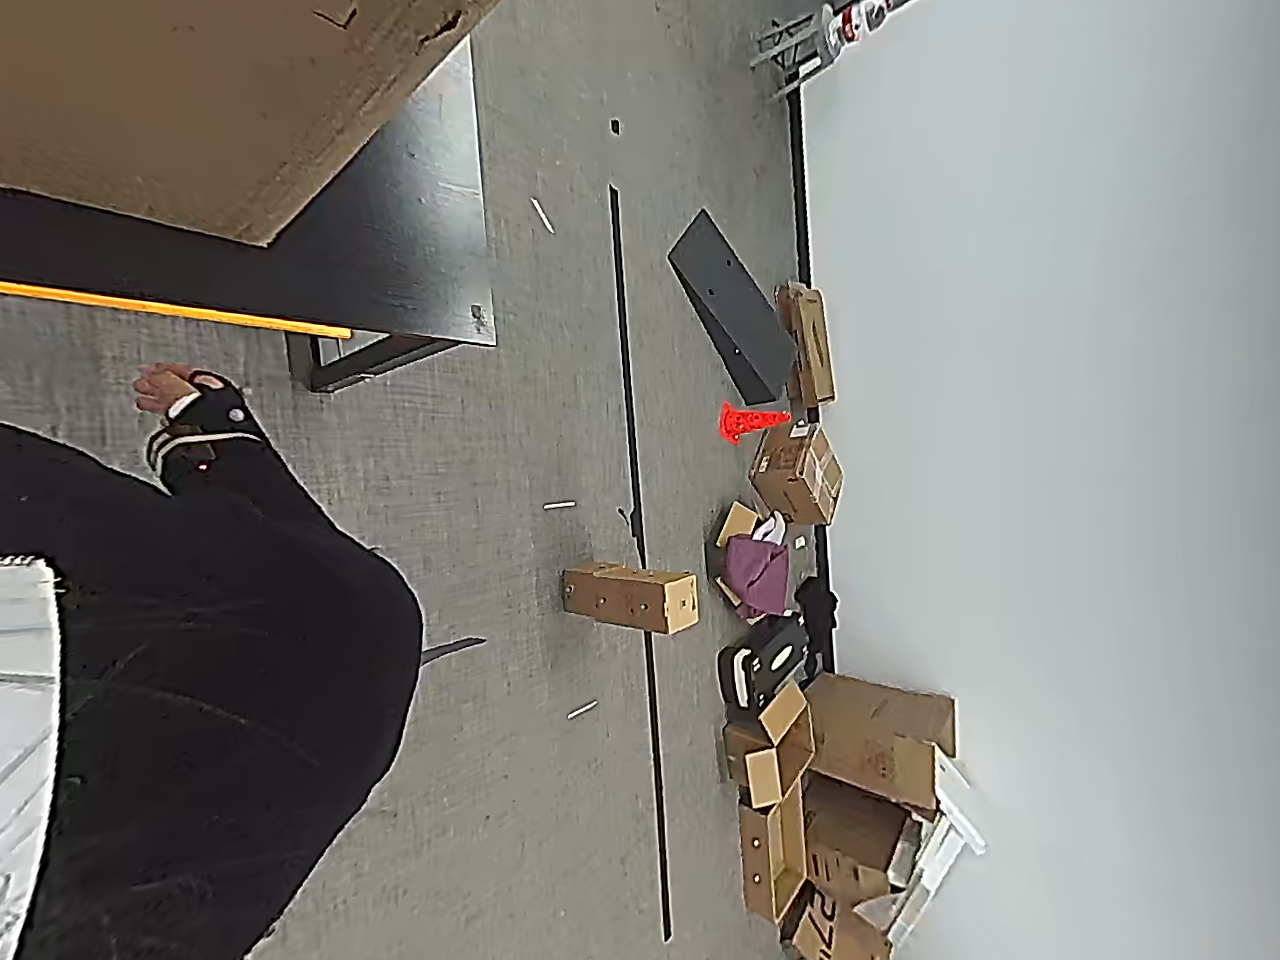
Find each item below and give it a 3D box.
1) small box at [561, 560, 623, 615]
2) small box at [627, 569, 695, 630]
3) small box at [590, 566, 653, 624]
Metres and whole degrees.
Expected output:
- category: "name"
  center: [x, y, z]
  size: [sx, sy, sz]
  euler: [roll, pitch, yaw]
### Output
- category: "small box"
  center: [-0.179, 0.402, 2.048]
  size: [0.179, 0.176, 0.168]
  euler: [-5, 92, -49]
- category: "small box"
  center: [0.066, 0.399, 1.828]
  size: [0.179, 0.176, 0.168]
  euler: [-4, 91, -50]
- category: "small box"
  center: [-0.058, 0.405, 1.935]
  size: [0.179, 0.176, 0.168]
  euler: [-5, 91, -50]
